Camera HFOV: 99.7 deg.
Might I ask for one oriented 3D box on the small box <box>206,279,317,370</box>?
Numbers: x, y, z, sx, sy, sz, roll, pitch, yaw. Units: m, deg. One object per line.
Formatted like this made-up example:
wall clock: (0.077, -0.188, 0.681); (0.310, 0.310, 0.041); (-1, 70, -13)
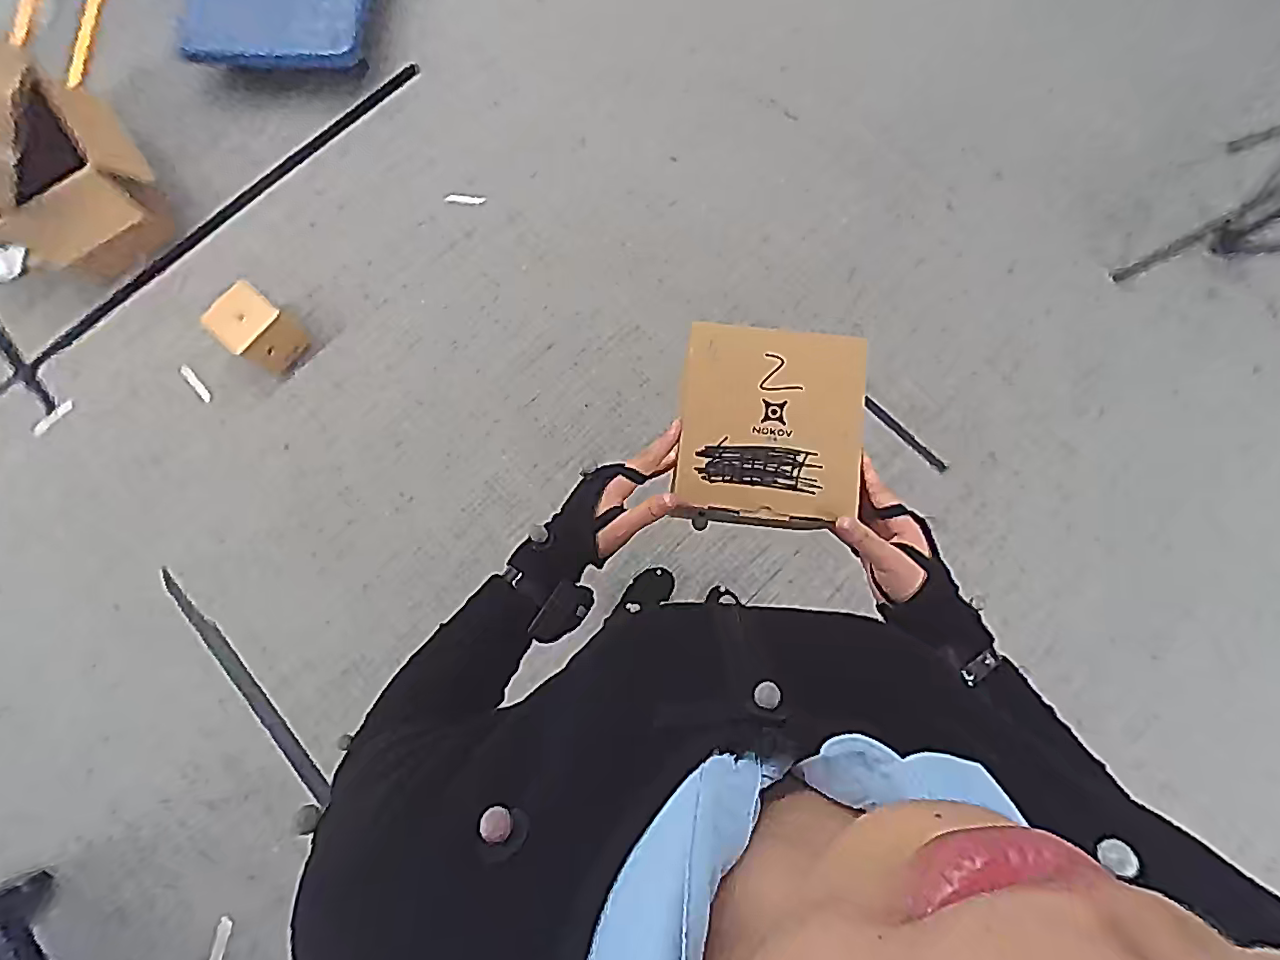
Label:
small box: (-1.117, -0.451, 1.613); (0.179, 0.176, 0.168); (39, 83, 9)

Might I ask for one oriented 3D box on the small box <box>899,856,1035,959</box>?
small box: (0.741, 1.018, 1.250); (0.168, 0.176, 0.179); (-34, 80, -4)
